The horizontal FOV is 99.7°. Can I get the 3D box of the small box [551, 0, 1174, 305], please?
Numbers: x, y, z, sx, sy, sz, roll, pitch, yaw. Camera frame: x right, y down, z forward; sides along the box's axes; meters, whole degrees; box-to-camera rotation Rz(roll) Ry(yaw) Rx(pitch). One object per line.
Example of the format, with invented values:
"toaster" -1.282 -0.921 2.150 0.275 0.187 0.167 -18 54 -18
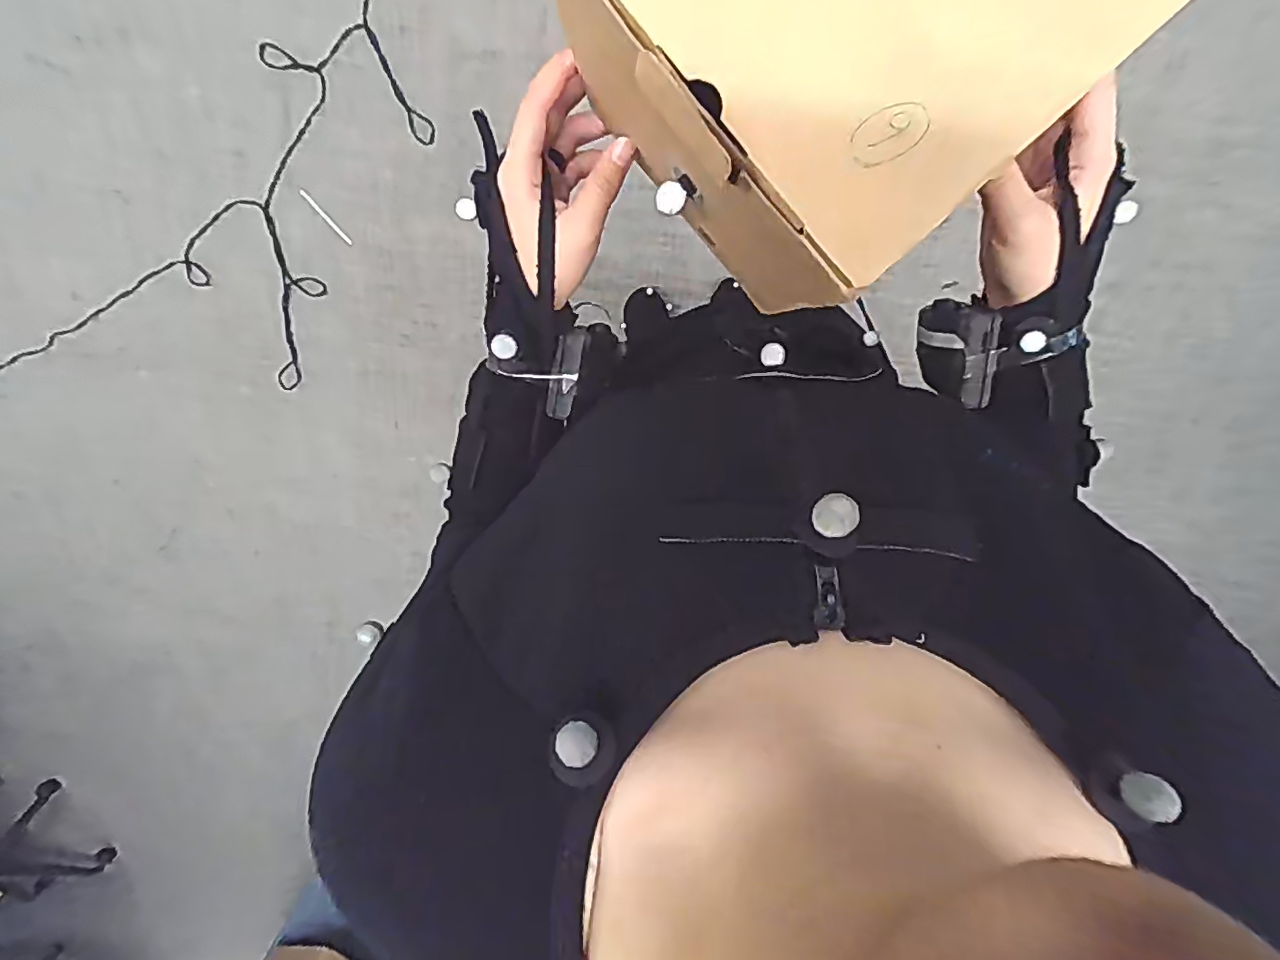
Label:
"small box" 0.084 -0.201 0.252 0.179 0.176 0.168 -42 100 13
